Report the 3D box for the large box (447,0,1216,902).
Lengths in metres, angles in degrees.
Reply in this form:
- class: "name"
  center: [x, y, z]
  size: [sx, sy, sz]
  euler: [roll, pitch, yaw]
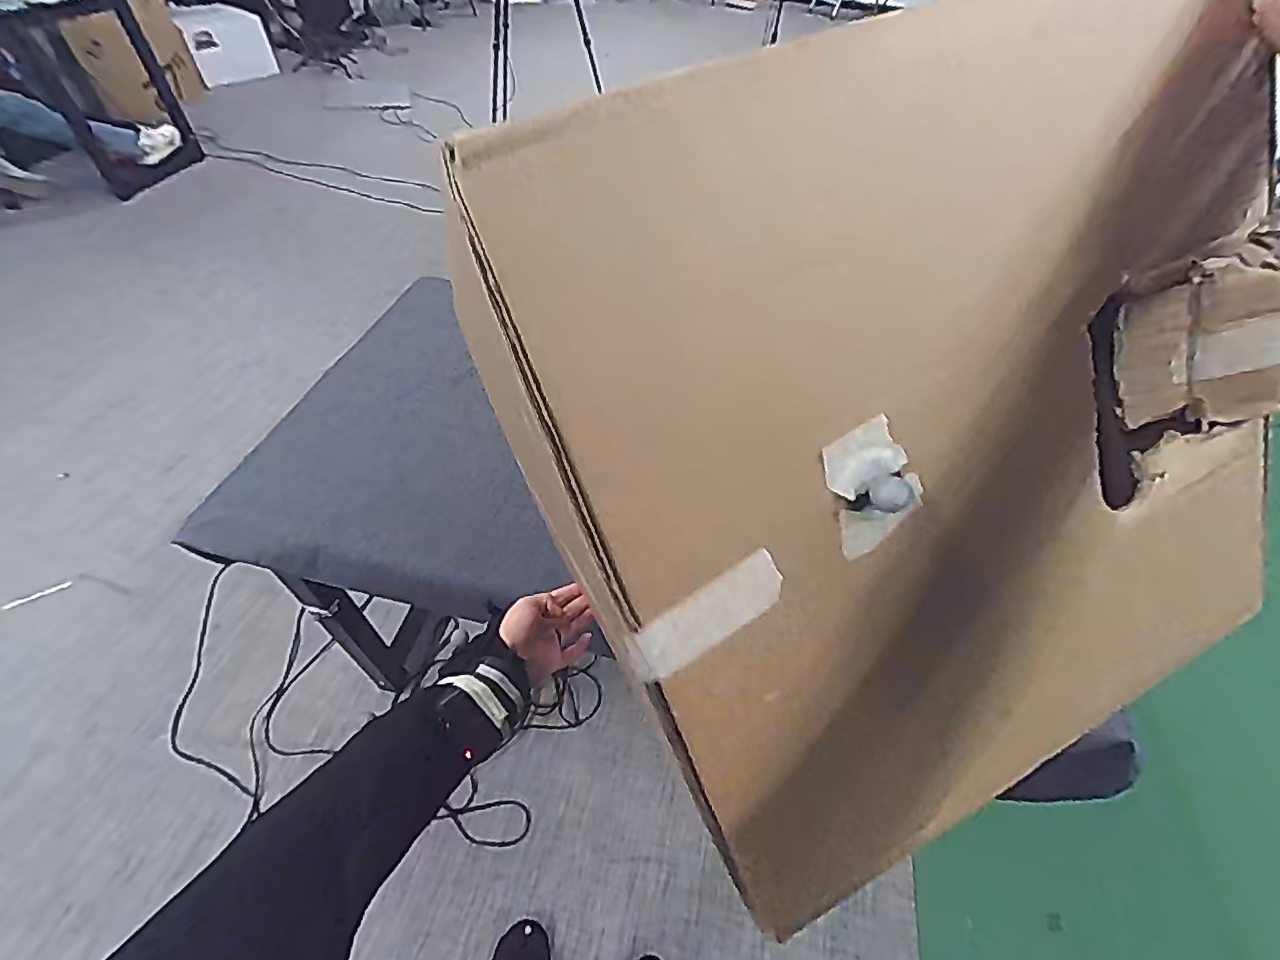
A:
- class: "large box"
  center: [0.074, -0.042, 0.401]
  size: [0.320, 0.320, 0.408]
  euler: [-26, 19, -14]
